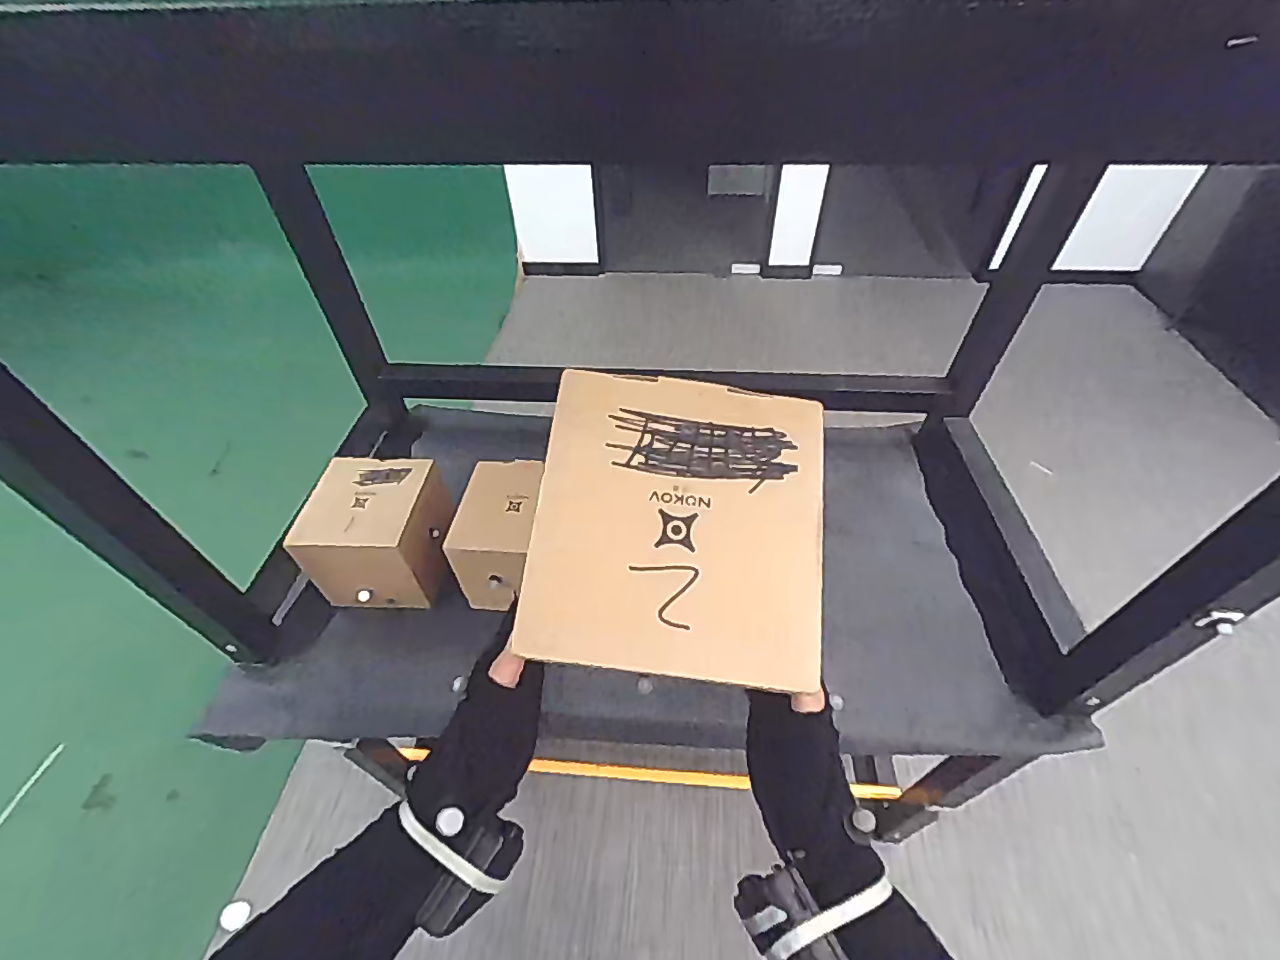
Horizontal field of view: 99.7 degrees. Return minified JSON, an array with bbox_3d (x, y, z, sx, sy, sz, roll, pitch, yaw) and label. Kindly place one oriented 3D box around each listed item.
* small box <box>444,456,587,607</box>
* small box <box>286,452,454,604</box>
[{"bbox_3d":[-0.181,0.082,0.852,0.168,0.176,0.179,3,46,4],"label":"small box"},{"bbox_3d":[-0.408,0.075,0.861,0.168,0.176,0.179,1,47,3],"label":"small box"}]
